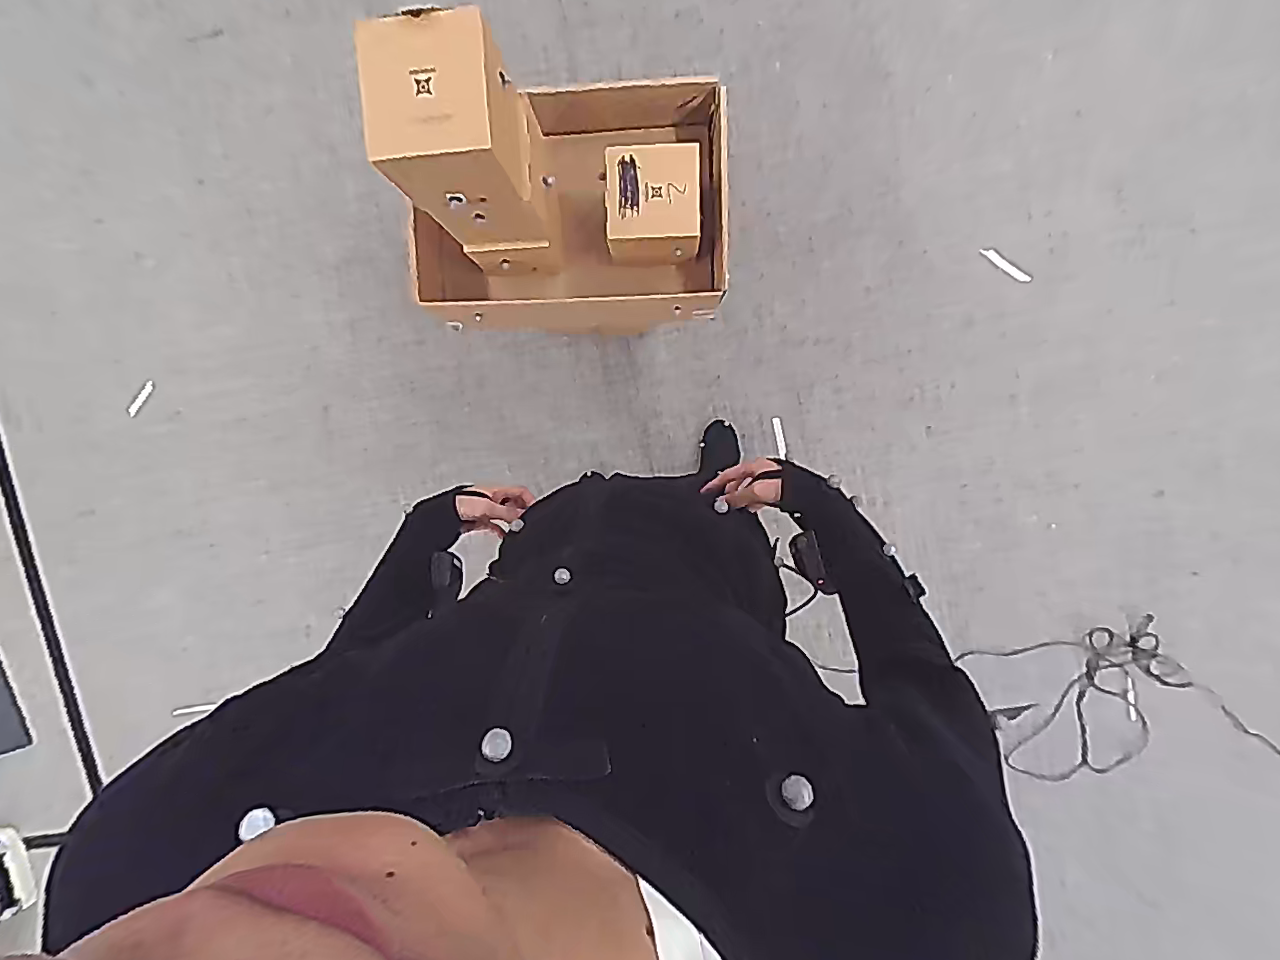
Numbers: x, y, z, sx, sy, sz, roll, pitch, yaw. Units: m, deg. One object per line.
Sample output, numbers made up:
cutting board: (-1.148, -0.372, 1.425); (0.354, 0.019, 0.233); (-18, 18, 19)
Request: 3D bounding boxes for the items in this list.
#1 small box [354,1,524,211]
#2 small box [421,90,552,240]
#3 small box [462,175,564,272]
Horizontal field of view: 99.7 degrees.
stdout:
small box: (-0.267, -0.504, 0.752); (0.168, 0.176, 0.179); (-3, 94, 4)
small box: (-0.254, -0.519, 0.915); (0.179, 0.176, 0.168); (-1, 95, 2)
small box: (-0.250, -0.525, 1.080); (0.168, 0.176, 0.179); (-3, 94, 2)
